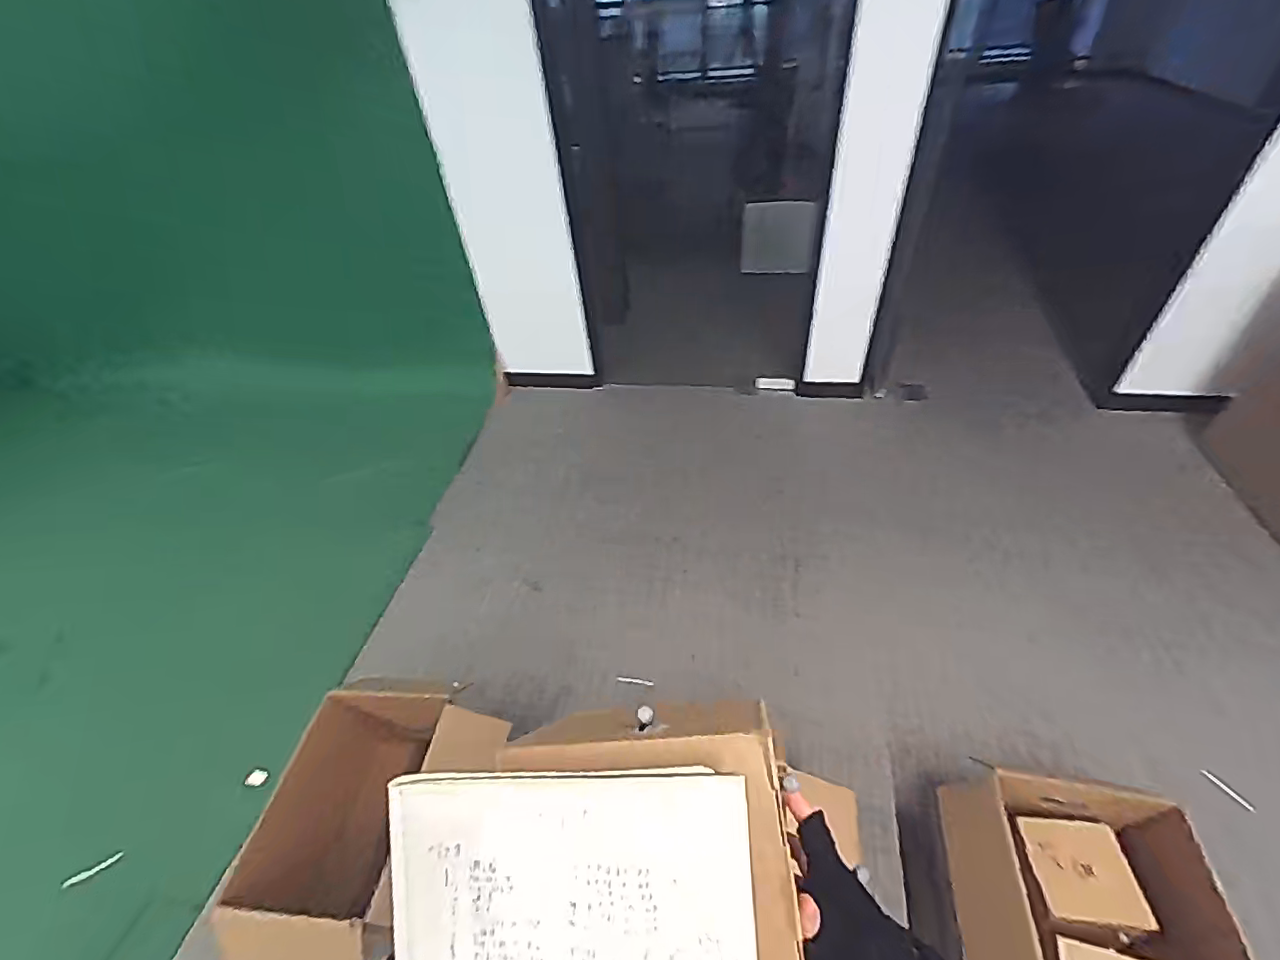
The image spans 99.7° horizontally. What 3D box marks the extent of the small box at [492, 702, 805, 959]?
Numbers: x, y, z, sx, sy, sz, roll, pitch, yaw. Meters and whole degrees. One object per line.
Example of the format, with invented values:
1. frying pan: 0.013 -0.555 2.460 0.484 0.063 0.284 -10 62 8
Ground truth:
1. small box: 0.011 0.257 0.382 0.179 0.176 0.168 -7 72 8
